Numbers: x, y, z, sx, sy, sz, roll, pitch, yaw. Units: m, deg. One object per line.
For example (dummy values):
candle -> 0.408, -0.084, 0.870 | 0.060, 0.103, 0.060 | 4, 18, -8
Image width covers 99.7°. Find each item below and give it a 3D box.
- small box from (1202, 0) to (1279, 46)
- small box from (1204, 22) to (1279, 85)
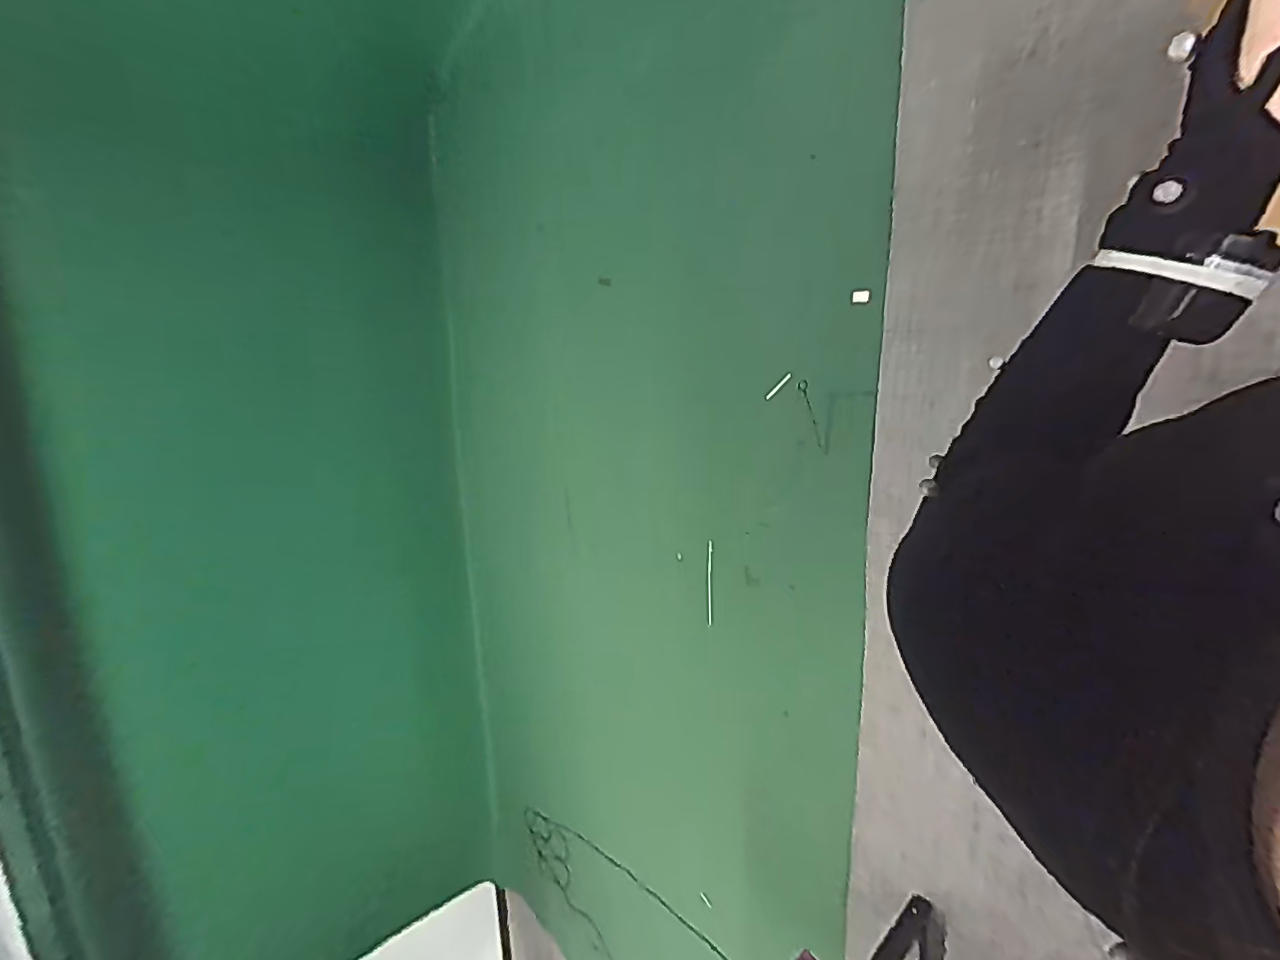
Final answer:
small box -> 0.721, -0.613, 0.565 | 0.168, 0.176, 0.179 | 16, 108, 49
small box -> 0.843, -0.644, 0.673 | 0.168, 0.176, 0.179 | 13, 105, 49
